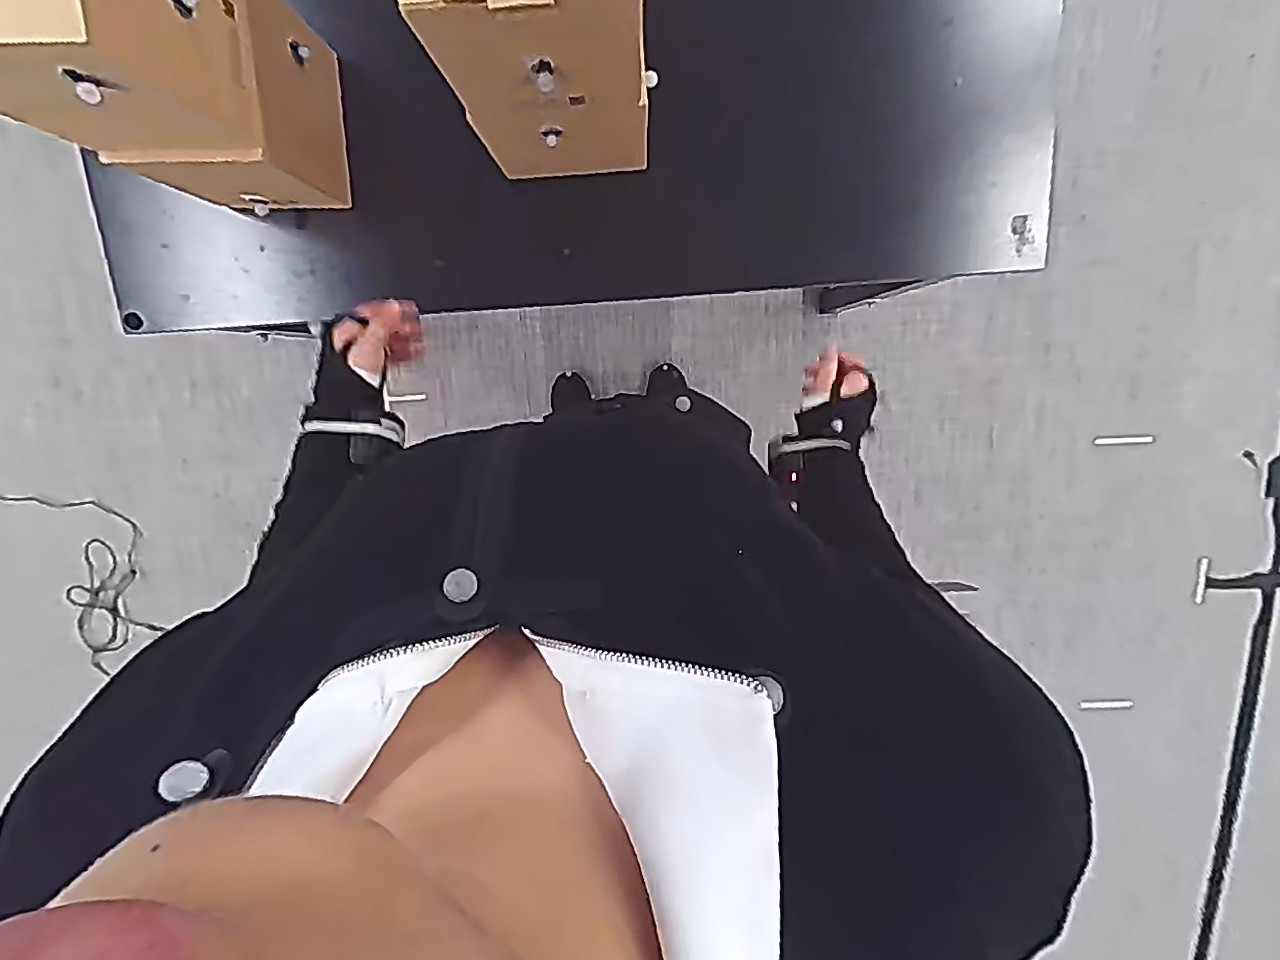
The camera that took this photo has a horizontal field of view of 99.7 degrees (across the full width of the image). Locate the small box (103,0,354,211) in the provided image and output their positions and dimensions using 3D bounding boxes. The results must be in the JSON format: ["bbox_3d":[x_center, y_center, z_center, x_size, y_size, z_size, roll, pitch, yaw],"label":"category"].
[{"bbox_3d":[-0.443,-0.413,0.592,0.168,0.176,0.179,0,102,2],"label":"small box"}]

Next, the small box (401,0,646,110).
[{"bbox_3d":[-0.083,-0.416,0.419,0.168,0.176,0.179,-4,102,2],"label":"small box"}]

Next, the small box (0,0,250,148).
[{"bbox_3d":[-0.450,-0.386,0.429,0.179,0.176,0.168,0,101,2],"label":"small box"}]

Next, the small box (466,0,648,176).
[{"bbox_3d":[-0.082,-0.445,0.580,0.179,0.176,0.168,-4,102,1],"label":"small box"}]
